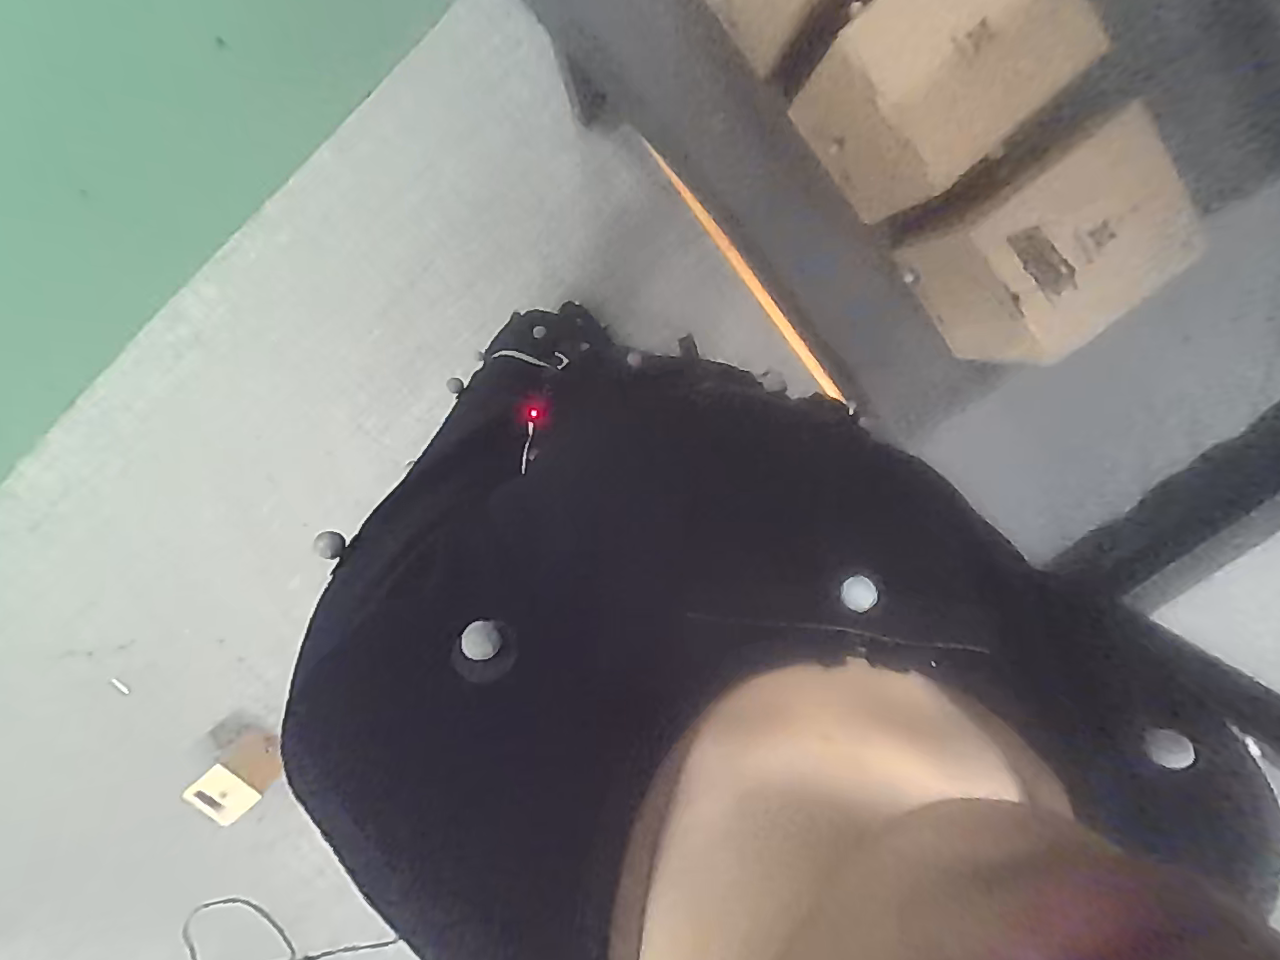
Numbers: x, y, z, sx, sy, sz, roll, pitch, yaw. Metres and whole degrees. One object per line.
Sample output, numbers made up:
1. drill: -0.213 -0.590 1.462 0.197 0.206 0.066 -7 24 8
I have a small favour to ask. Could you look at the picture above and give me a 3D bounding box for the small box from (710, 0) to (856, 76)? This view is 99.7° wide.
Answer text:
1. small box: 0.159 -0.544 0.508 0.179 0.176 0.168 -41 102 10
